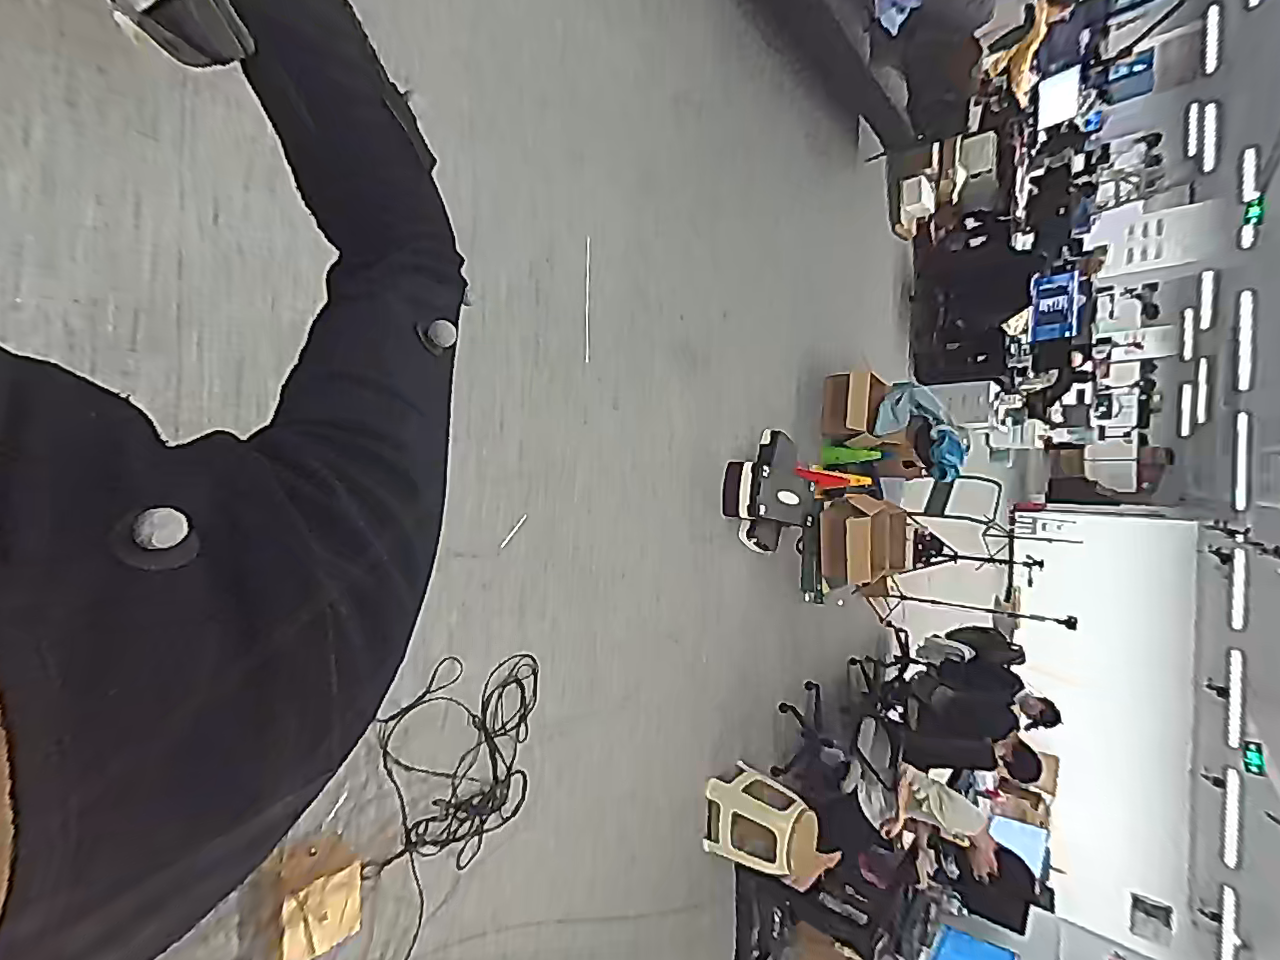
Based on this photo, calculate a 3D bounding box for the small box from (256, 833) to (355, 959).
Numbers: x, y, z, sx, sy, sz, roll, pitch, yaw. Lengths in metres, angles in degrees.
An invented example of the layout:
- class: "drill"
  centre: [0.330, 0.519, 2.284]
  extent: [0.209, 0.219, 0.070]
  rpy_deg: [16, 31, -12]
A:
- class: "small box"
  centre: [-0.804, 1.004, 1.300]
  extent: [0.168, 0.176, 0.179]
  rpy_deg: [-1, 91, -49]
